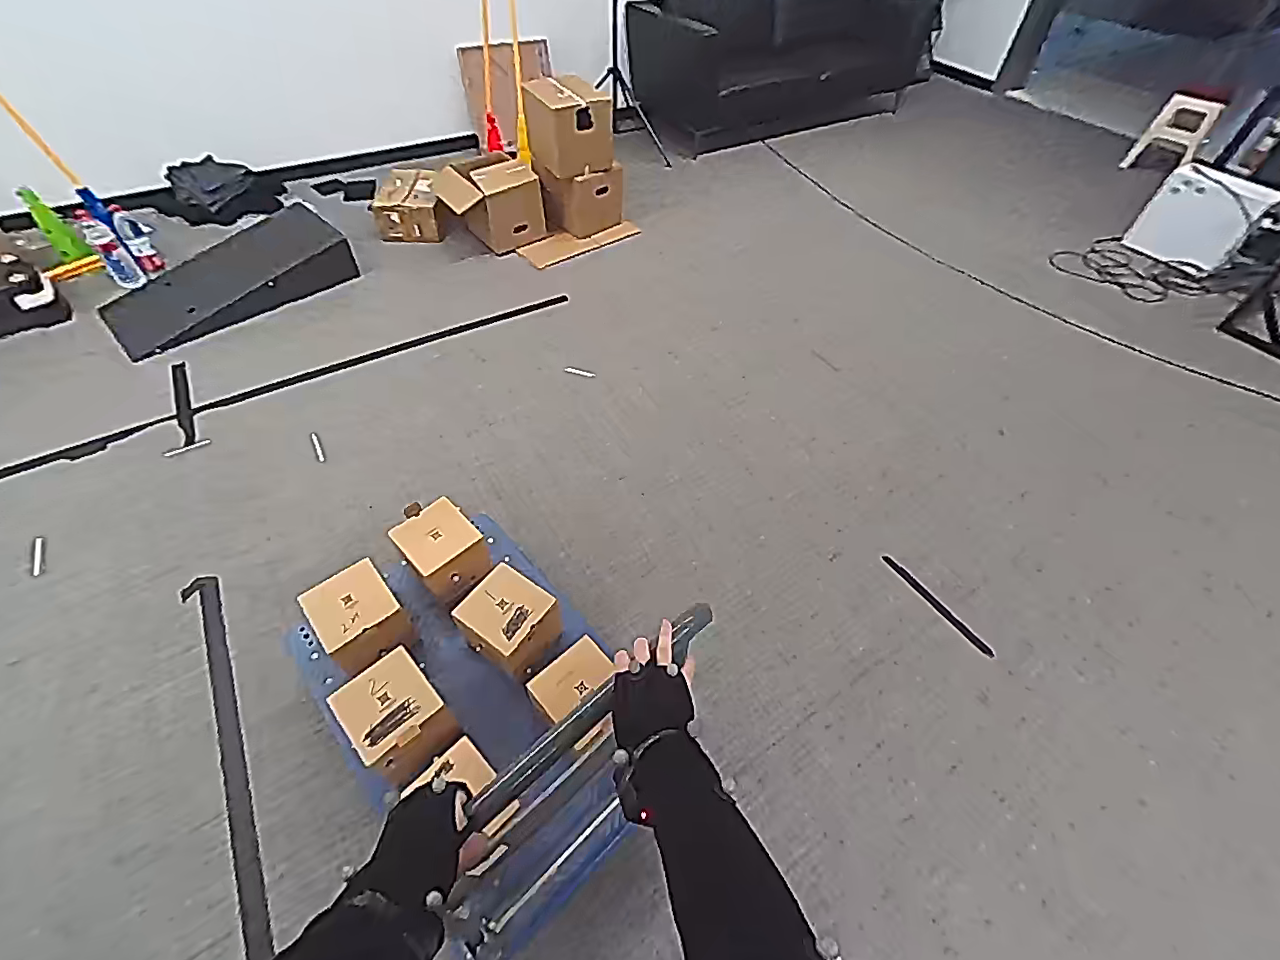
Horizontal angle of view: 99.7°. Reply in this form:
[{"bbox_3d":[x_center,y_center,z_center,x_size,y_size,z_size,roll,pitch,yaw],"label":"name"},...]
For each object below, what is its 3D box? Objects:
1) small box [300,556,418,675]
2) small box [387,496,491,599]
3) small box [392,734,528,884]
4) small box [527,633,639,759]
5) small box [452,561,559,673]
[{"bbox_3d":[-0.650,0.319,1.264,0.168,0.176,0.179,-34,61,-27],"label":"small box"},{"bbox_3d":[-0.507,0.181,1.389,0.179,0.176,0.168,38,58,24],"label":"small box"},{"bbox_3d":[-0.333,0.629,1.034,0.179,0.176,0.168,37,57,23],"label":"small box"},{"bbox_3d":[-0.121,0.475,1.175,0.168,0.176,0.179,-34,60,-28],"label":"small box"},{"bbox_3d":[-0.307,0.331,1.279,0.179,0.176,0.168,29,55,19],"label":"small box"}]
